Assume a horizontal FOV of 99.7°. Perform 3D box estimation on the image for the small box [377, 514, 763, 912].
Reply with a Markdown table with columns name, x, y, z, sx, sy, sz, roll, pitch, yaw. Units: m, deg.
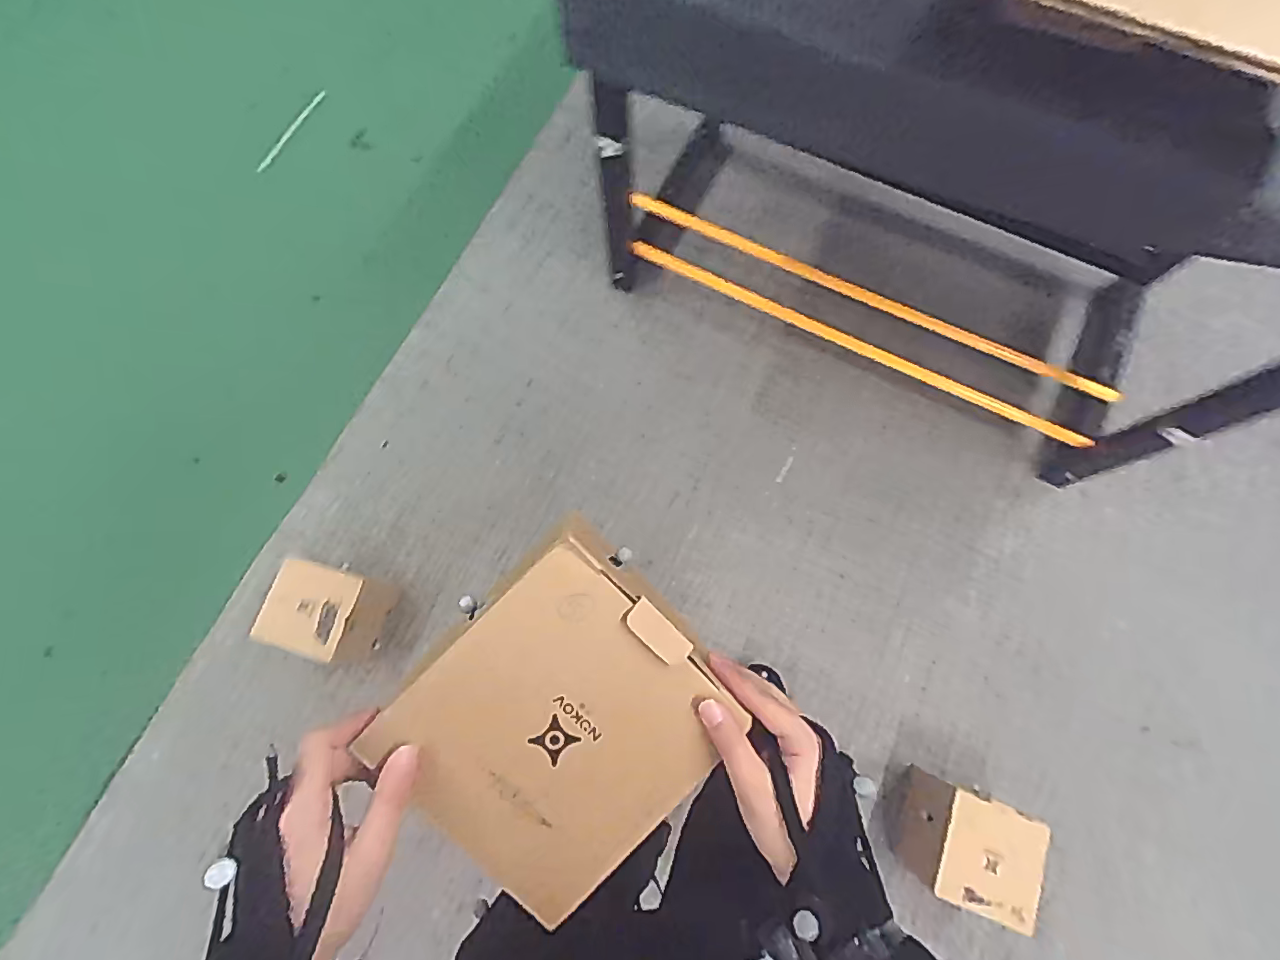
| name | x | y | z | sx | sy | sz | roll | pitch | yaw |
| --- | --- | --- | --- | --- | --- | --- | --- | --- | --- |
| small box | -0.046 | 0.142 | 0.402 | 0.179 | 0.176 | 0.168 | -44 | 95 | -2 |

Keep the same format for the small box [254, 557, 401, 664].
| name | x | y | z | sx | sy | sz | roll | pitch | yaw |
| --- | --- | --- | --- | --- | --- | --- | --- | --- | --- |
| small box | -0.633 | 0.269 | 1.122 | 0.179 | 0.176 | 0.168 | 15 | 75 | 6 |

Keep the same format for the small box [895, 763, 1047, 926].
| name | x | y | z | sx | sy | sz | roll | pitch | yaw |
| --- | --- | --- | --- | --- | --- | --- | --- | --- | --- |
| small box | 0.596 | 0.650 | 0.993 | 0.168 | 0.176 | 0.179 | 20 | 75 | 6 |
